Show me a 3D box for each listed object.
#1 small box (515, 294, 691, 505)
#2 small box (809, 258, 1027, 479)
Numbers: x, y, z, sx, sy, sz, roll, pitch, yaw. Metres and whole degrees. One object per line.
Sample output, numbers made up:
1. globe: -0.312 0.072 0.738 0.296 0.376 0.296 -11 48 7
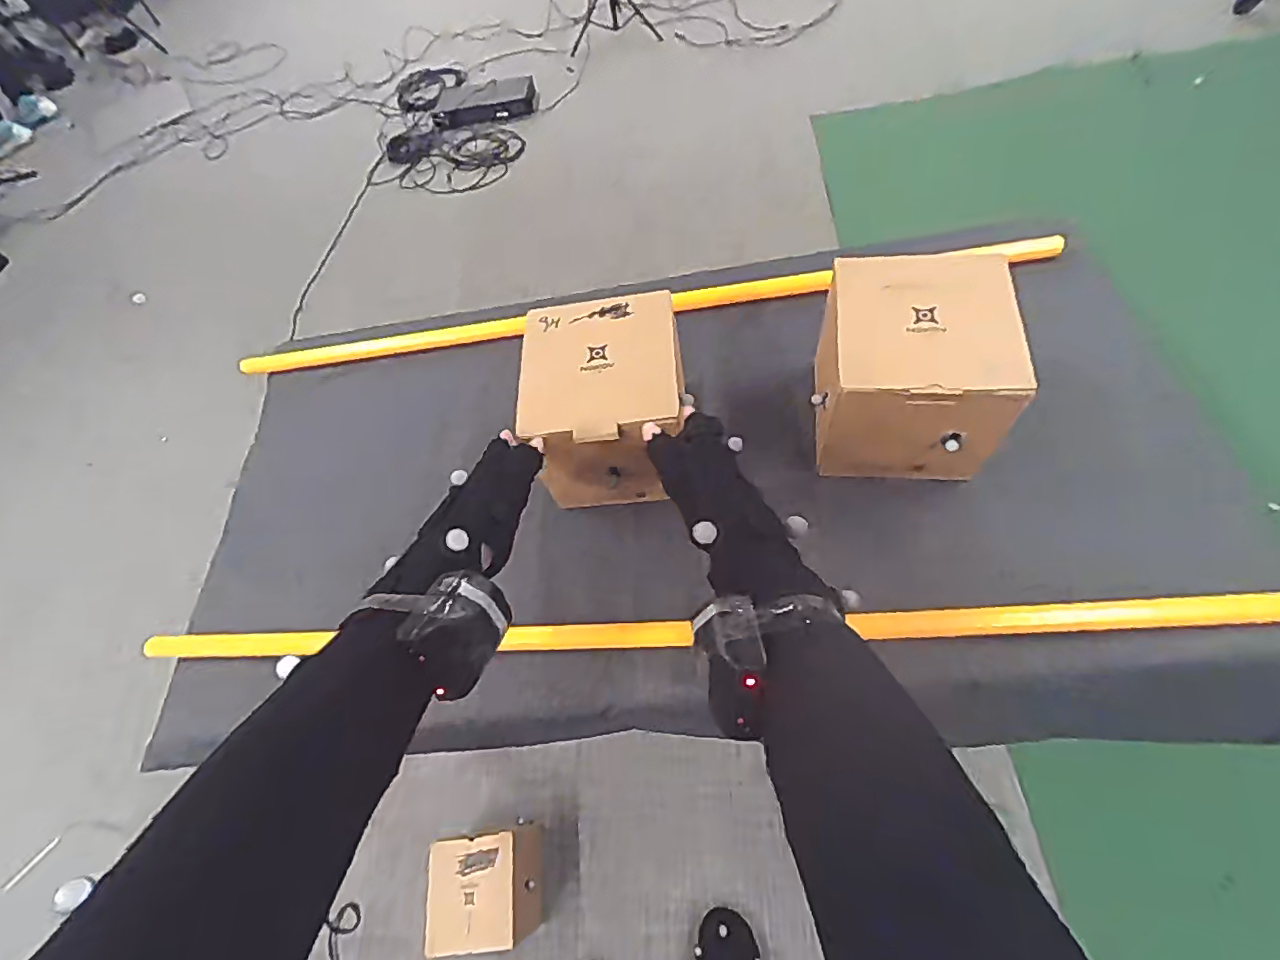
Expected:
1. small box: -0.036 -0.082 0.637 0.168 0.176 0.179 -9 60 7
2. small box: 0.282 -0.113 0.594 0.168 0.176 0.179 2 61 11
